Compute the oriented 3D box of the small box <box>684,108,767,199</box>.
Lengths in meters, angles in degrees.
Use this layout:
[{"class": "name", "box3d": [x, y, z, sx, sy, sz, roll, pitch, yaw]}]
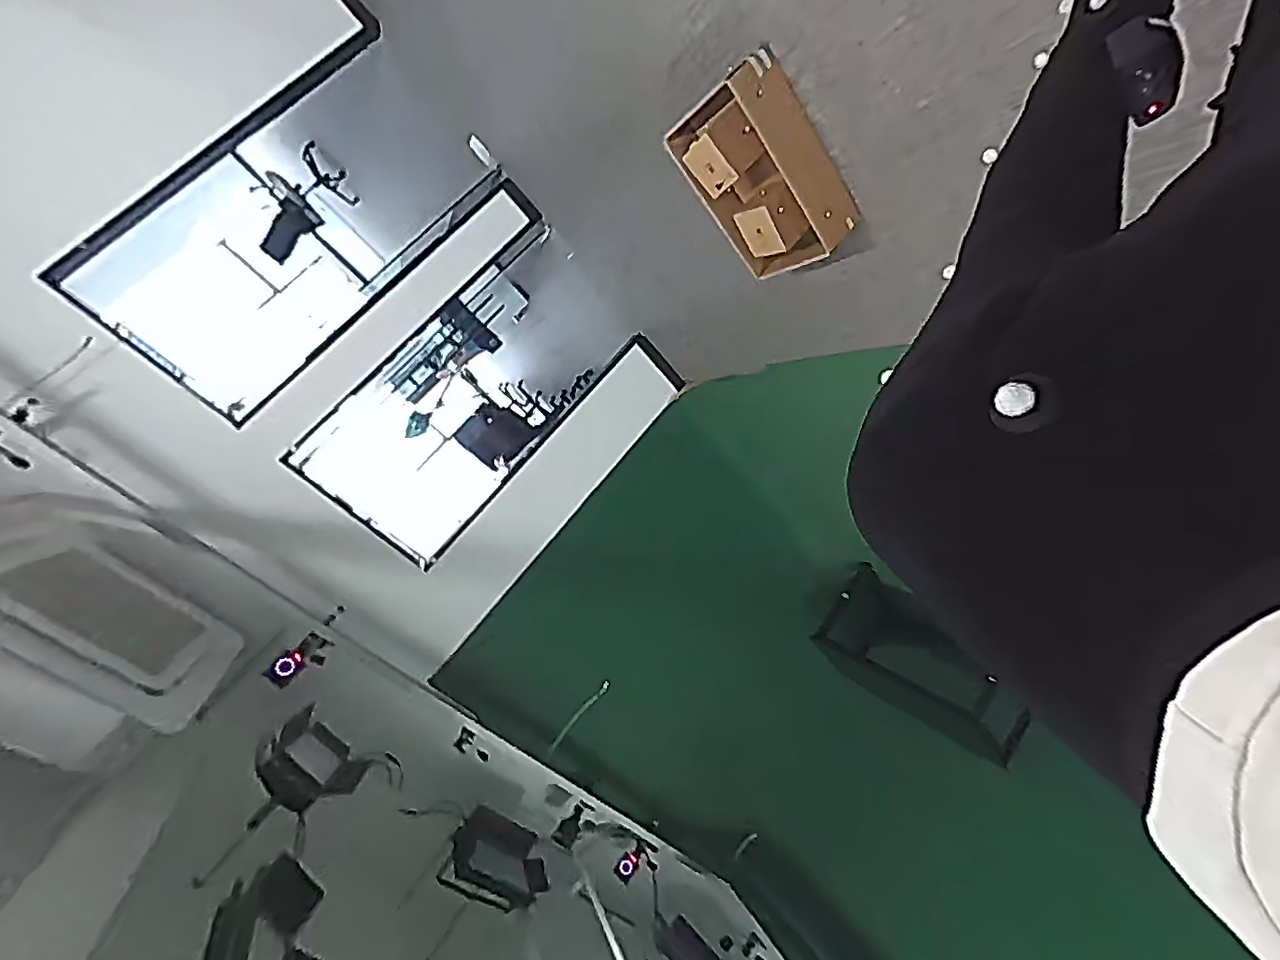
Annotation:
[{"class": "small box", "box3d": [0.288, -1.097, 1.809, 0.179, 0.176, 0.168, 44, 166, -18]}]
